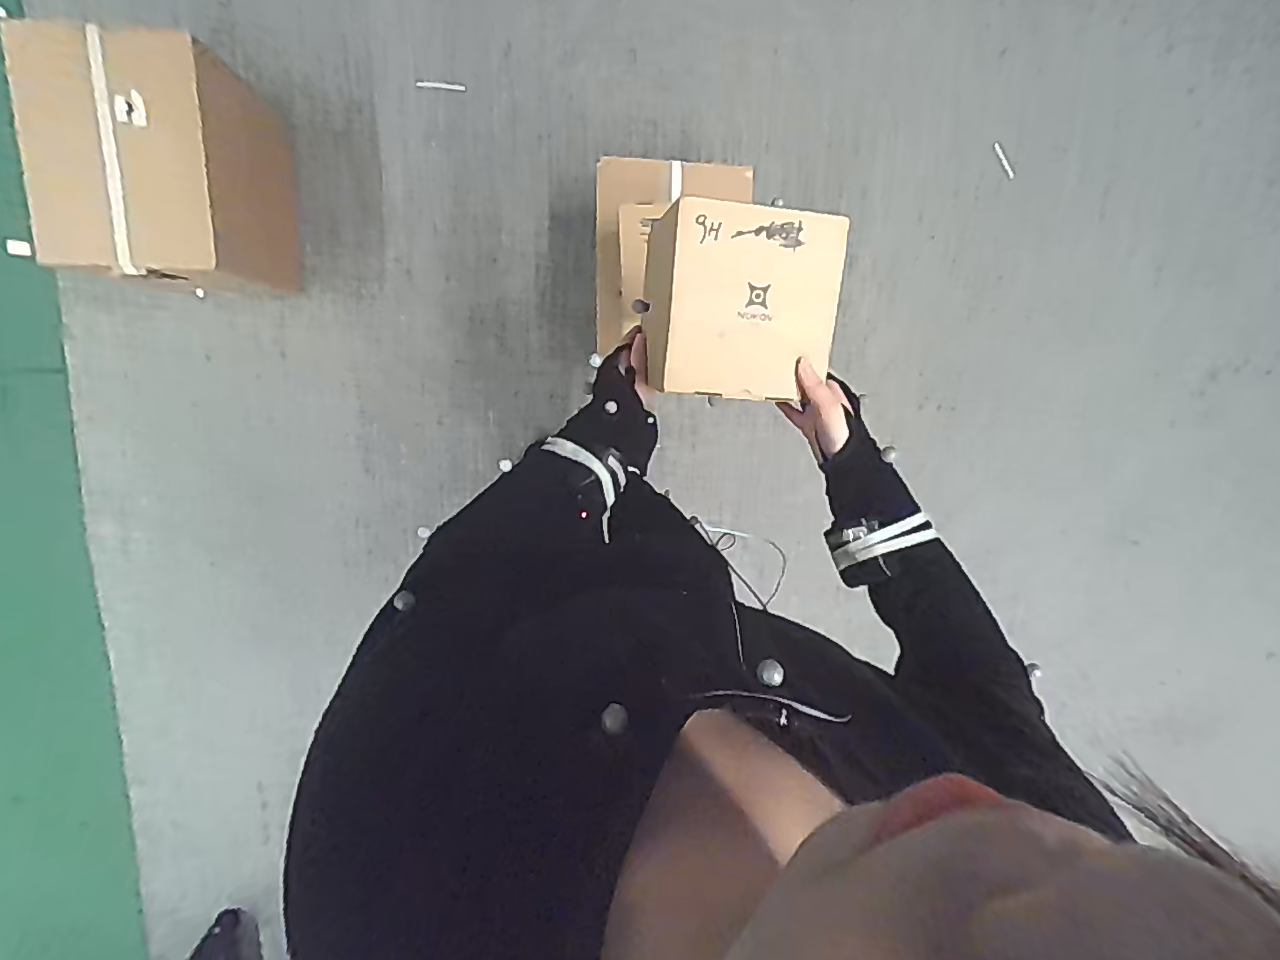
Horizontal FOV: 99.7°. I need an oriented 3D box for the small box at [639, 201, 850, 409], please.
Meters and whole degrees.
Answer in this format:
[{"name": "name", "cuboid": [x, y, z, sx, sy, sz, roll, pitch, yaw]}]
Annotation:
[{"name": "small box", "cuboid": [0.095, -0.178, 0.583, 0.168, 0.176, 0.179, 2, 104, -11]}]
